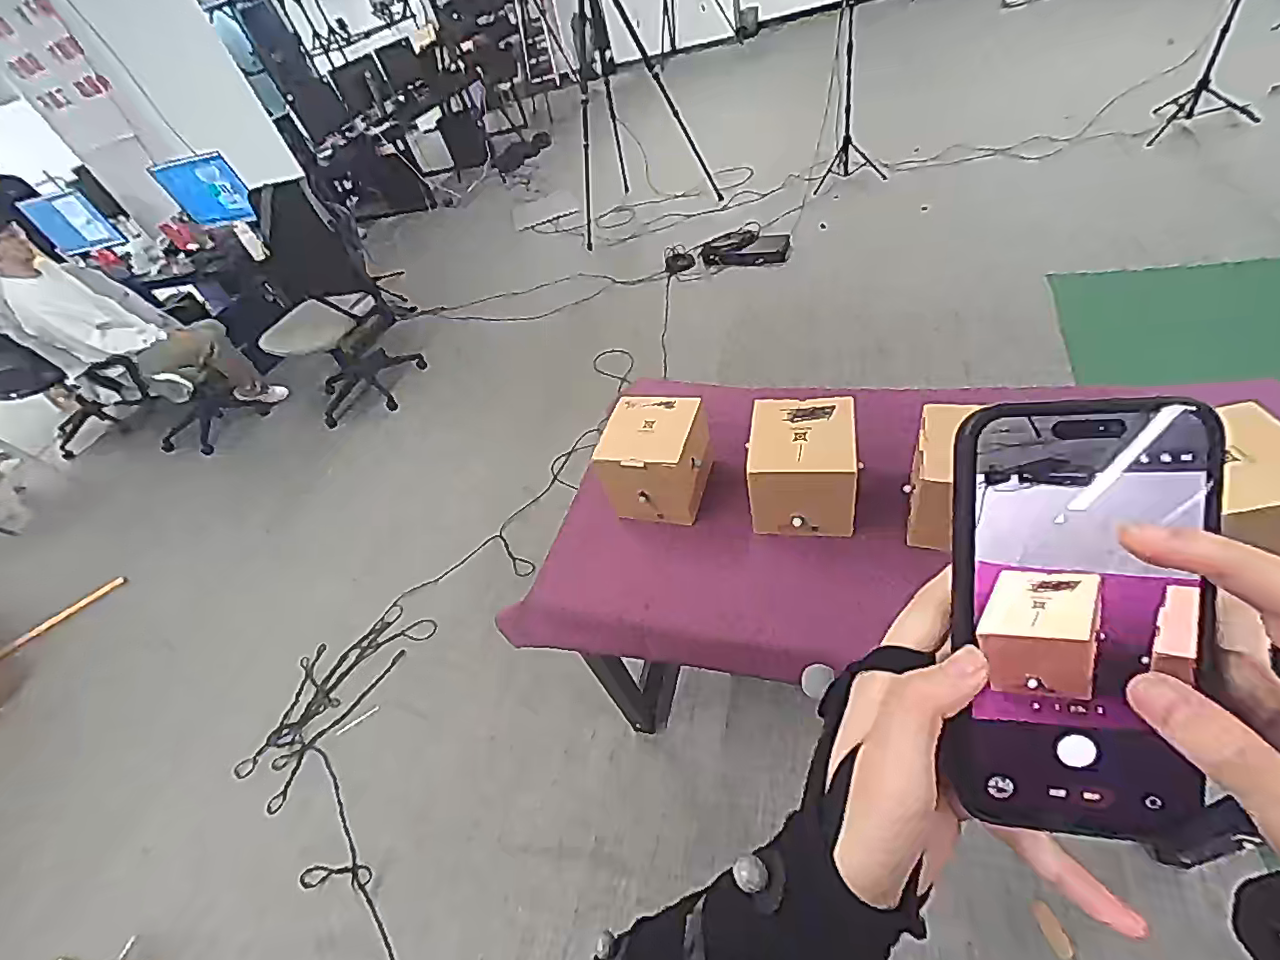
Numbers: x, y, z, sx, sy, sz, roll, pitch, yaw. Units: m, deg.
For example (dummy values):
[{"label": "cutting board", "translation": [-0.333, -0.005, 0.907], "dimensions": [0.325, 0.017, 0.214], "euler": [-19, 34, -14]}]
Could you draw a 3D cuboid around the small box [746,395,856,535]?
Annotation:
[{"label": "small box", "translation": [0.281, -0.026, 0.935], "dimensions": [0.168, 0.176, 0.179], "euler": [0, 49, 19]}]

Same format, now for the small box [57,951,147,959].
[{"label": "small box", "translation": [-1.299, 1.243, 1.283], "dimensions": [0.179, 0.176, 0.168], "euler": [-3, 47, 16]}]

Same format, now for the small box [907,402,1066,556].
[{"label": "small box", "translation": [0.518, -0.001, 0.833], "dimensions": [0.179, 0.176, 0.168], "euler": [7, 51, 24]}]

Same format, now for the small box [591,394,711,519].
[{"label": "small box", "translation": [0.032, -0.044, 1.034], "dimensions": [0.168, 0.176, 0.179], "euler": [5, 50, 23]}]

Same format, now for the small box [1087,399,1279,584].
[{"label": "small box", "translation": [0.755, 0.022, 0.731], "dimensions": [0.179, 0.176, 0.168], "euler": [-12, 45, 8]}]
